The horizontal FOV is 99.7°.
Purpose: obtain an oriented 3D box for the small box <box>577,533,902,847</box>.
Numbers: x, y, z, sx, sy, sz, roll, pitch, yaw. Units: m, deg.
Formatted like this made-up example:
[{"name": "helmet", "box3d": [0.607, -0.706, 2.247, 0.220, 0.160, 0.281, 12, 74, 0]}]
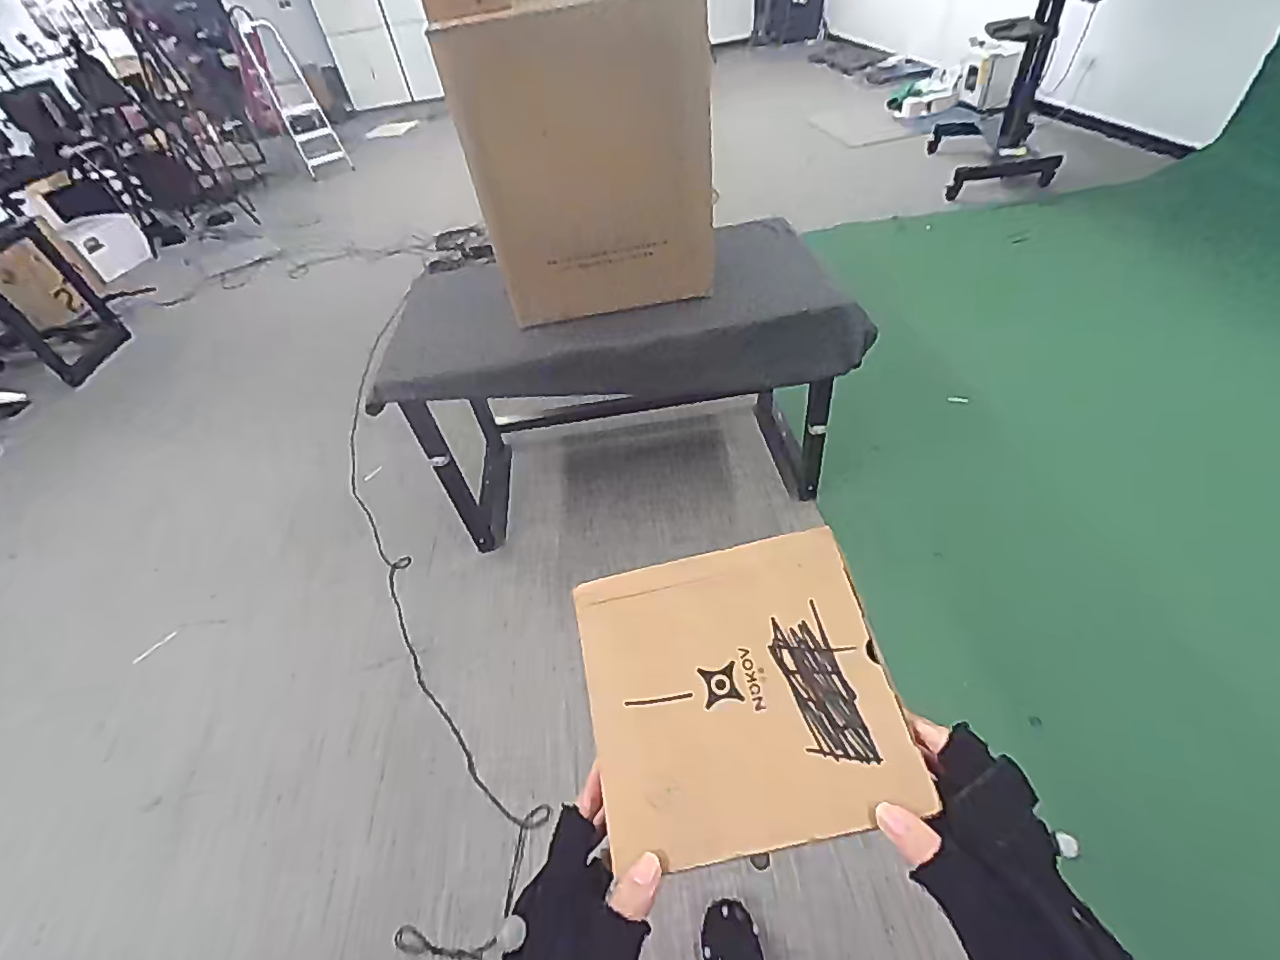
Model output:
[{"name": "small box", "box3d": [0.061, 0.160, 0.415, 0.179, 0.176, 0.168, -12, 60, 2]}]
